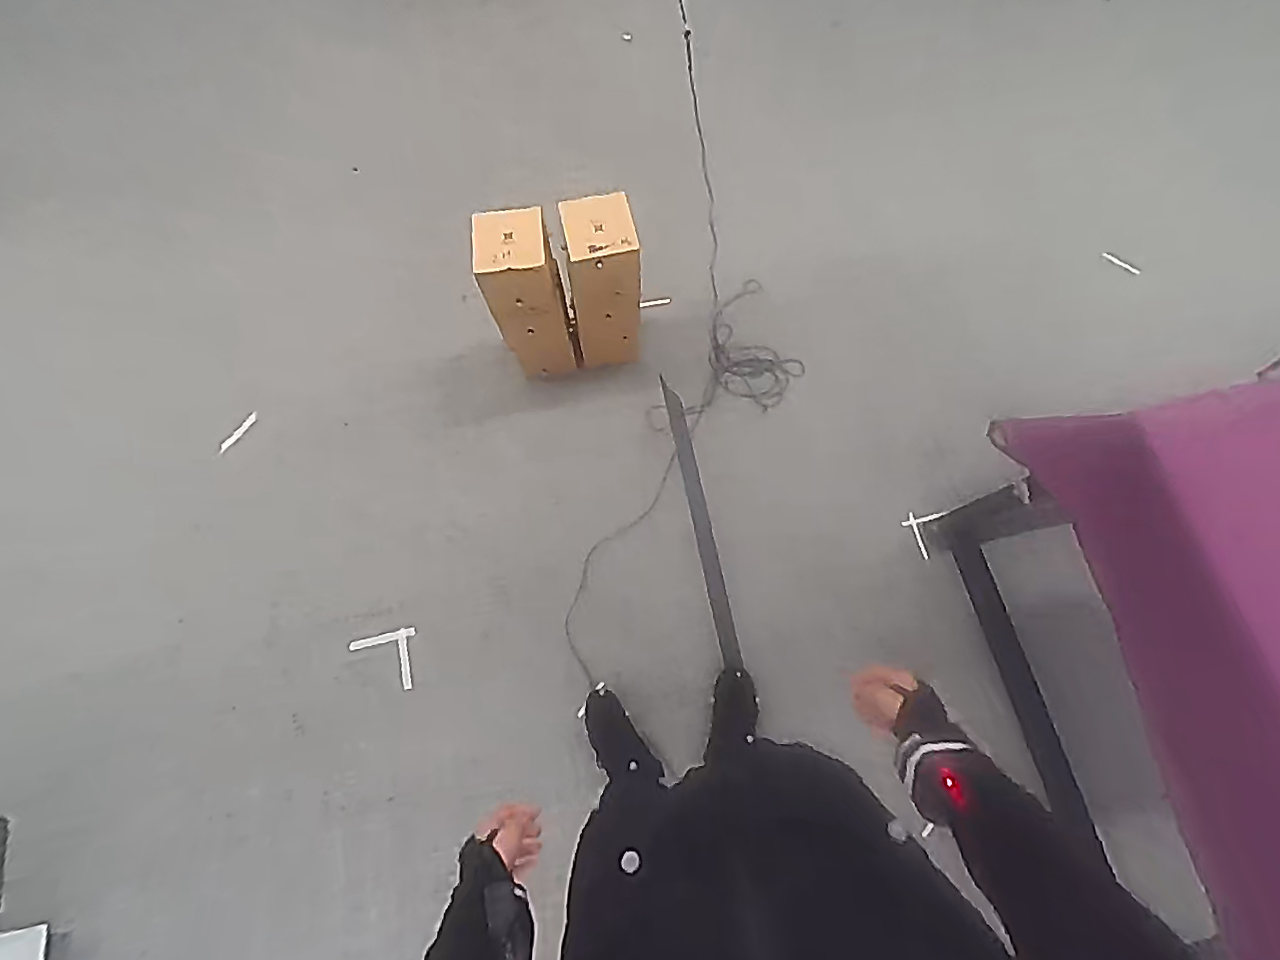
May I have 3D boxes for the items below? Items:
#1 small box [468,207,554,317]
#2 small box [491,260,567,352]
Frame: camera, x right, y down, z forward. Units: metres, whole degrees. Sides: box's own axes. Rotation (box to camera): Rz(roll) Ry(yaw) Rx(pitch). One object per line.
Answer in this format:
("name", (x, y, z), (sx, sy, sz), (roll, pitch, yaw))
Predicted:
("small box", (-0.309, -0.524, 1.314), (0.168, 0.176, 0.179), (-8, 73, 1))
("small box", (-0.298, -0.467, 1.470), (0.179, 0.176, 0.168), (-8, 72, 1))
